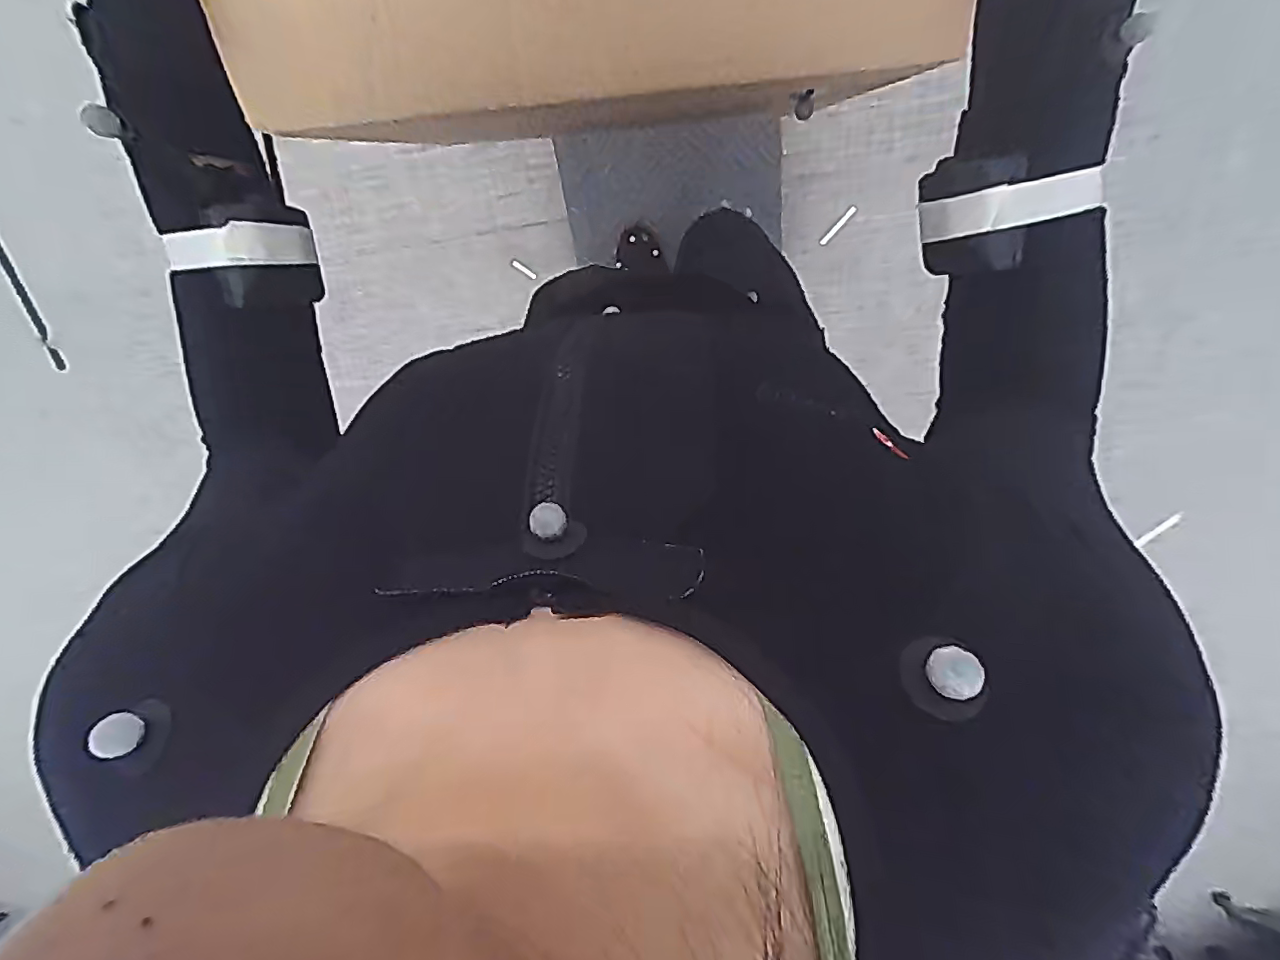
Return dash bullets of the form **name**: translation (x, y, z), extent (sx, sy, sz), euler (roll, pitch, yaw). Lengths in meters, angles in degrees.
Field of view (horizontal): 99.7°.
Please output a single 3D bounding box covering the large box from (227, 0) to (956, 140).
- **large box**: translation (-0.032, -0.431, 0.365), extent (0.408, 0.320, 0.320), euler (-3, 120, 5)
